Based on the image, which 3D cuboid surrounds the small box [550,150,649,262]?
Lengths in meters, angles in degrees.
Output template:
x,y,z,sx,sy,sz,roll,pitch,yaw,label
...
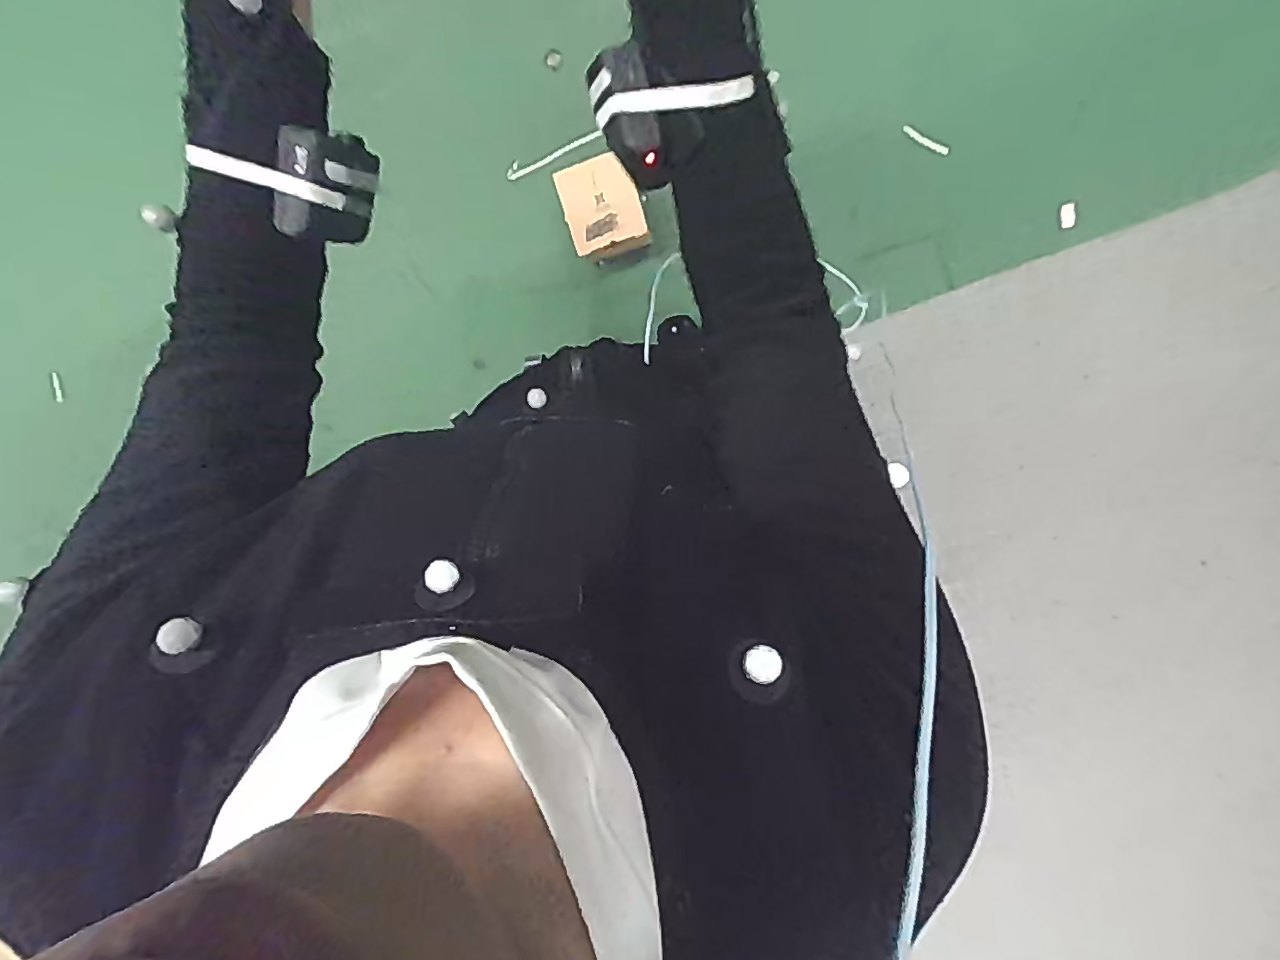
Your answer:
x,y,z,sx,sy,sz,roll,pitch,yaw,label
-0.082,-0.613,1.235,0.168,0.176,0.179,-19,106,9,small box
